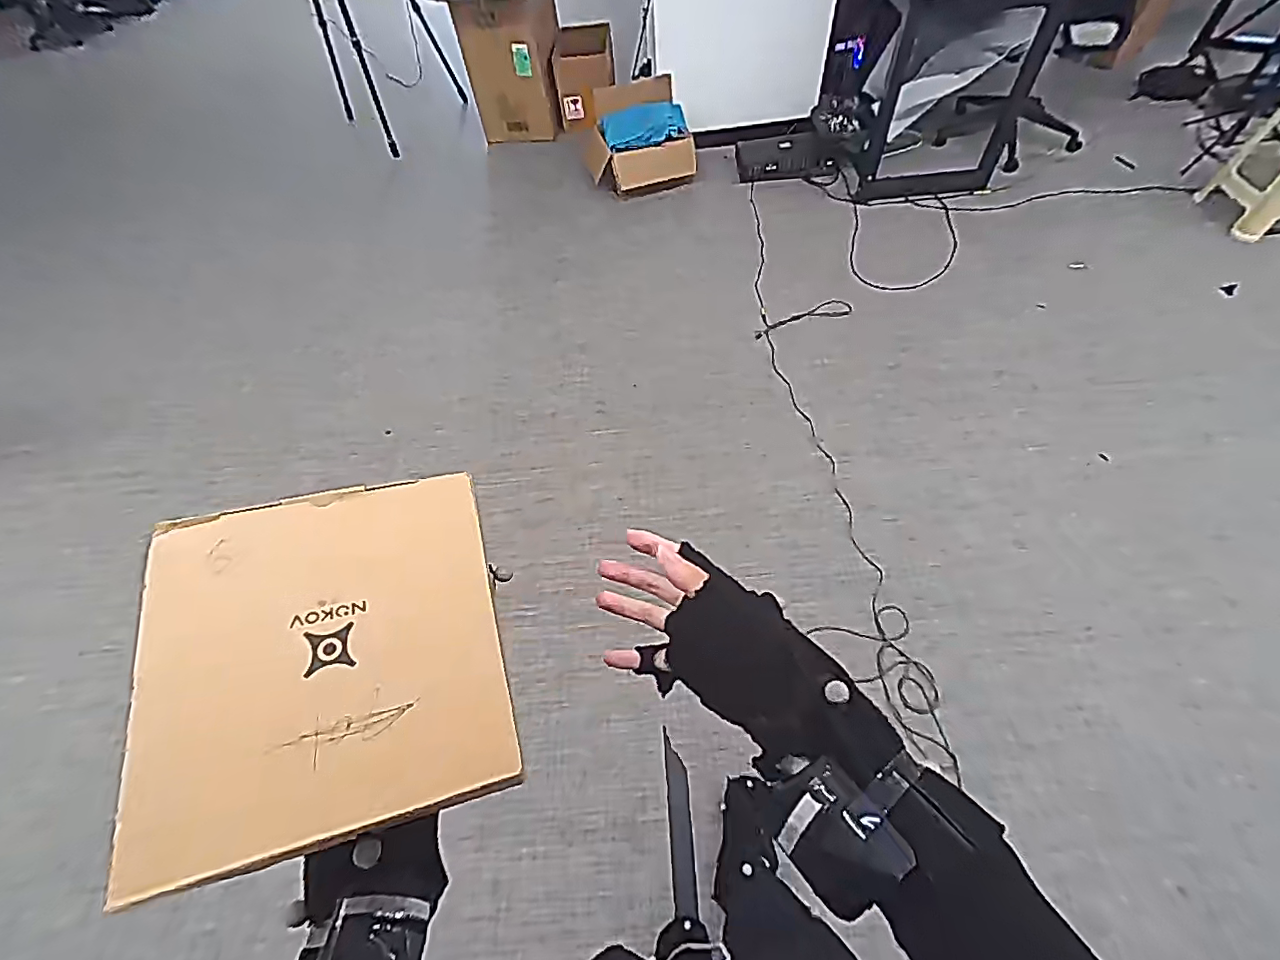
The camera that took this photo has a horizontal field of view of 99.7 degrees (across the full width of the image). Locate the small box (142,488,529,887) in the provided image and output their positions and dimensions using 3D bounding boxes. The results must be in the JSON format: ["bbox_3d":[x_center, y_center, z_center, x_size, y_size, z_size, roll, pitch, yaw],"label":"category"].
[{"bbox_3d":[-0.171,0.130,0.358,0.168,0.176,0.179,-10,62,-16],"label":"small box"}]
